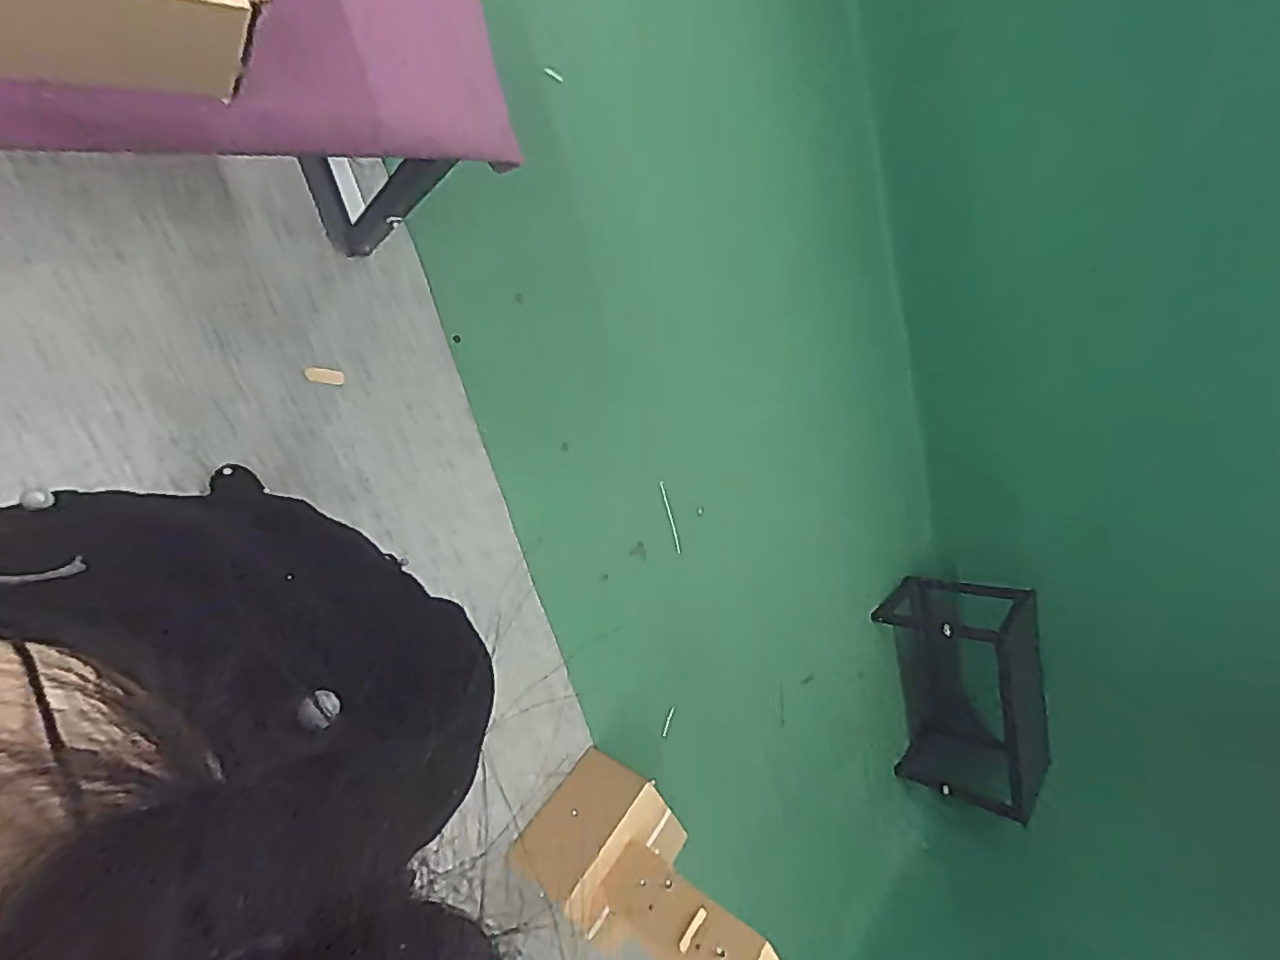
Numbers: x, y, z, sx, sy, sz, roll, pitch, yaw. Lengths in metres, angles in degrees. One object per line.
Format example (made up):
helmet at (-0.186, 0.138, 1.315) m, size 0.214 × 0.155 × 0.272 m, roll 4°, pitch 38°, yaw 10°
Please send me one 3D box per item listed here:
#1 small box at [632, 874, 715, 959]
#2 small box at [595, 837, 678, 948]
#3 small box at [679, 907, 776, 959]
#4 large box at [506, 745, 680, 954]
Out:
small box at (0.107, 1.195, 1.432) m, size 0.168 × 0.176 × 0.179 m, roll -38°, pitch 113°, yaw -35°
small box at (0.002, 1.186, 1.558) m, size 0.179 × 0.176 × 0.168 m, roll -39°, pitch 114°, yaw -34°
small box at (0.220, 1.195, 1.313) m, size 0.168 × 0.176 × 0.179 m, roll -39°, pitch 113°, yaw -34°
large box at (-0.145, 1.168, 1.755) m, size 0.408 × 0.320 × 0.320 m, roll -44°, pitch 119°, yaw -34°
